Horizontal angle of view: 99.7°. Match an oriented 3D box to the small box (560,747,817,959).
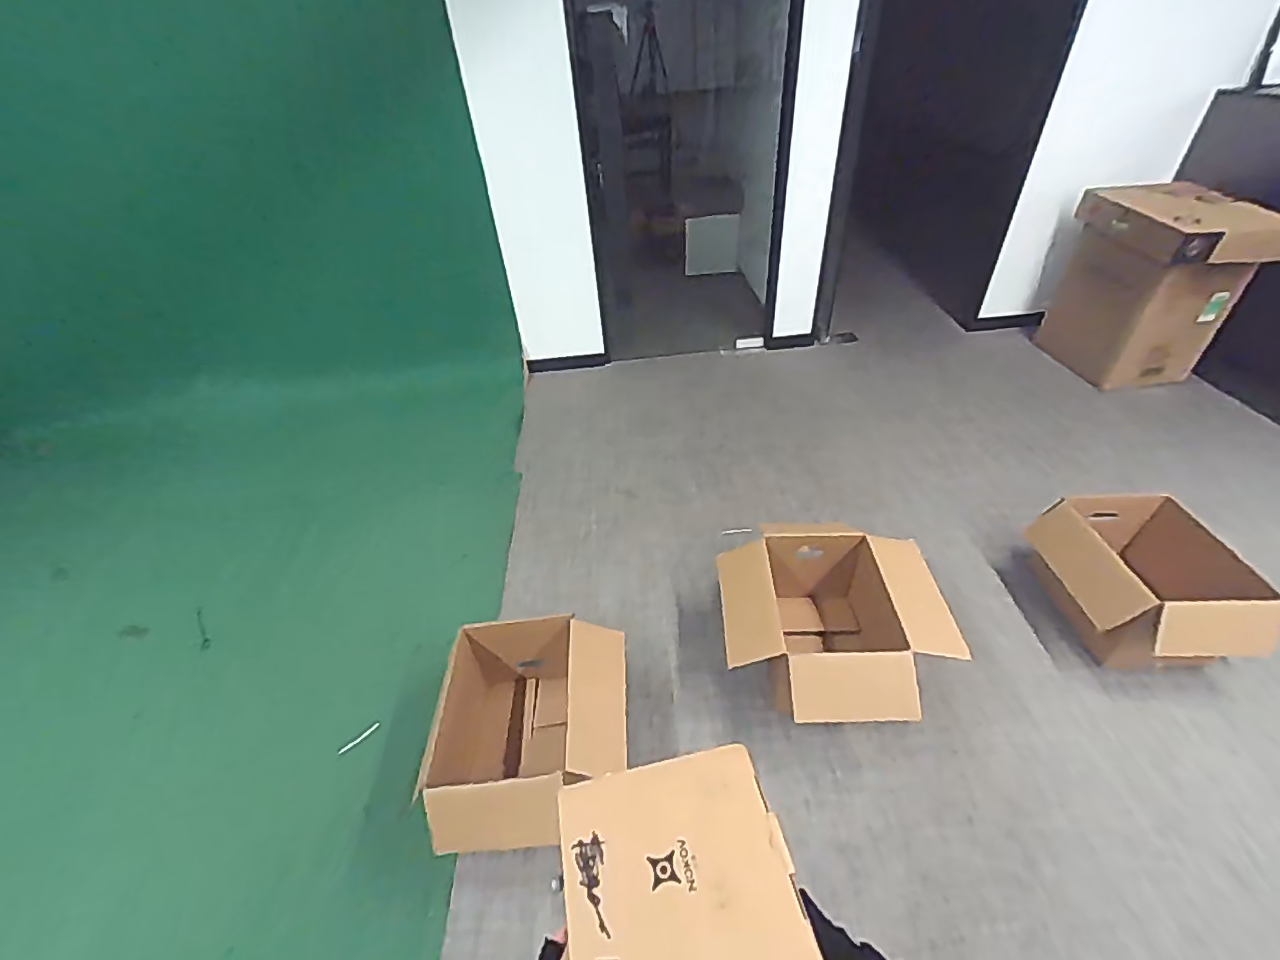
[{"bbox_3d":[0.031,0.370,0.475,0.179,0.176,0.168,-9,36,-6],"label":"small box"}]
